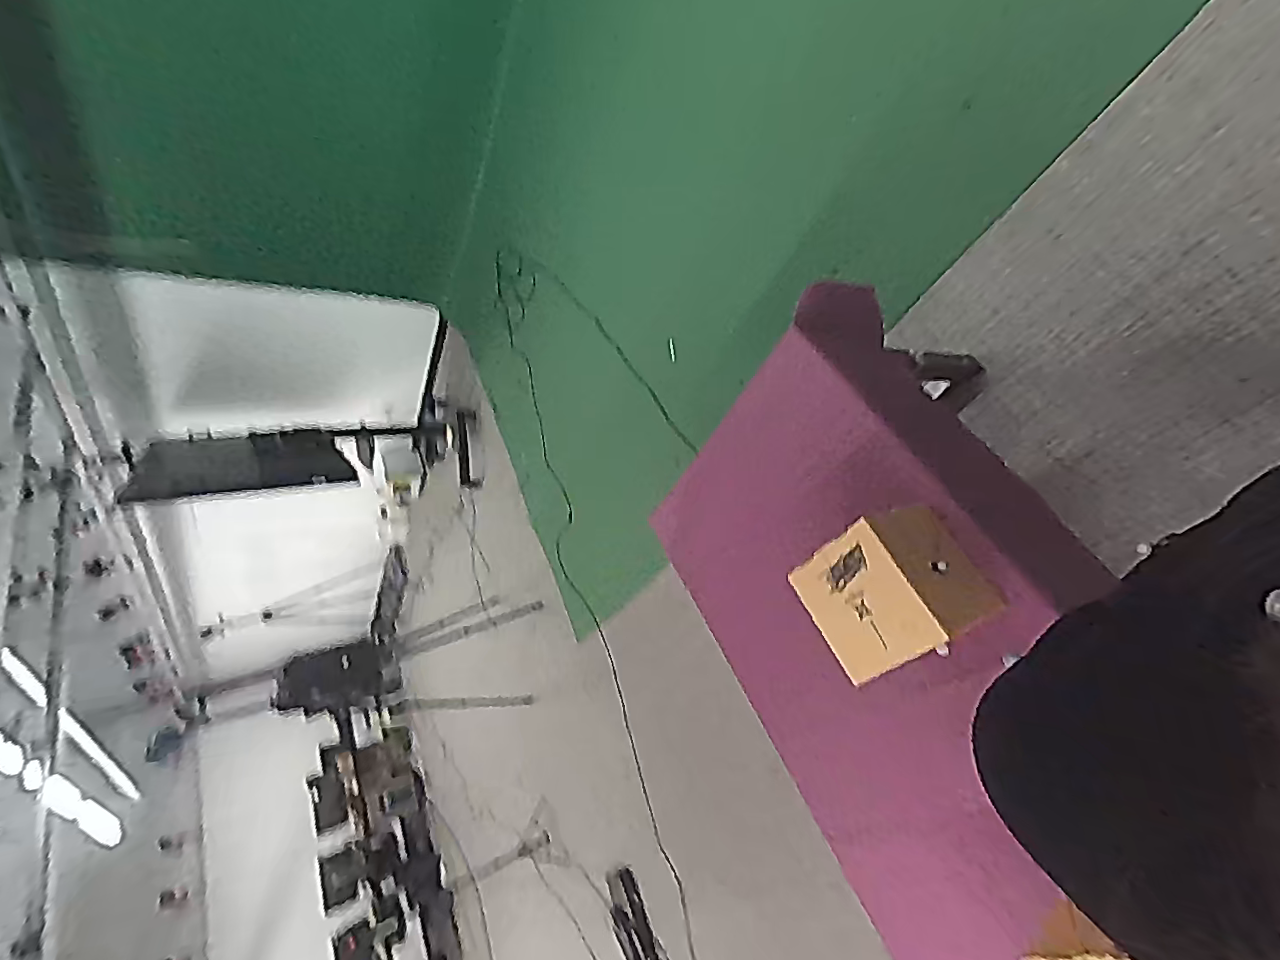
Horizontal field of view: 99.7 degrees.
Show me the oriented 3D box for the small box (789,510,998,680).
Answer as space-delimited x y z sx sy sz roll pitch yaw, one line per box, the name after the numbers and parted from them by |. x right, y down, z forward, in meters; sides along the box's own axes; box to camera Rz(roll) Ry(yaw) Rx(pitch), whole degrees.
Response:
0.358 0.155 0.776 0.168 0.176 0.179 -55 53 43 | small box
